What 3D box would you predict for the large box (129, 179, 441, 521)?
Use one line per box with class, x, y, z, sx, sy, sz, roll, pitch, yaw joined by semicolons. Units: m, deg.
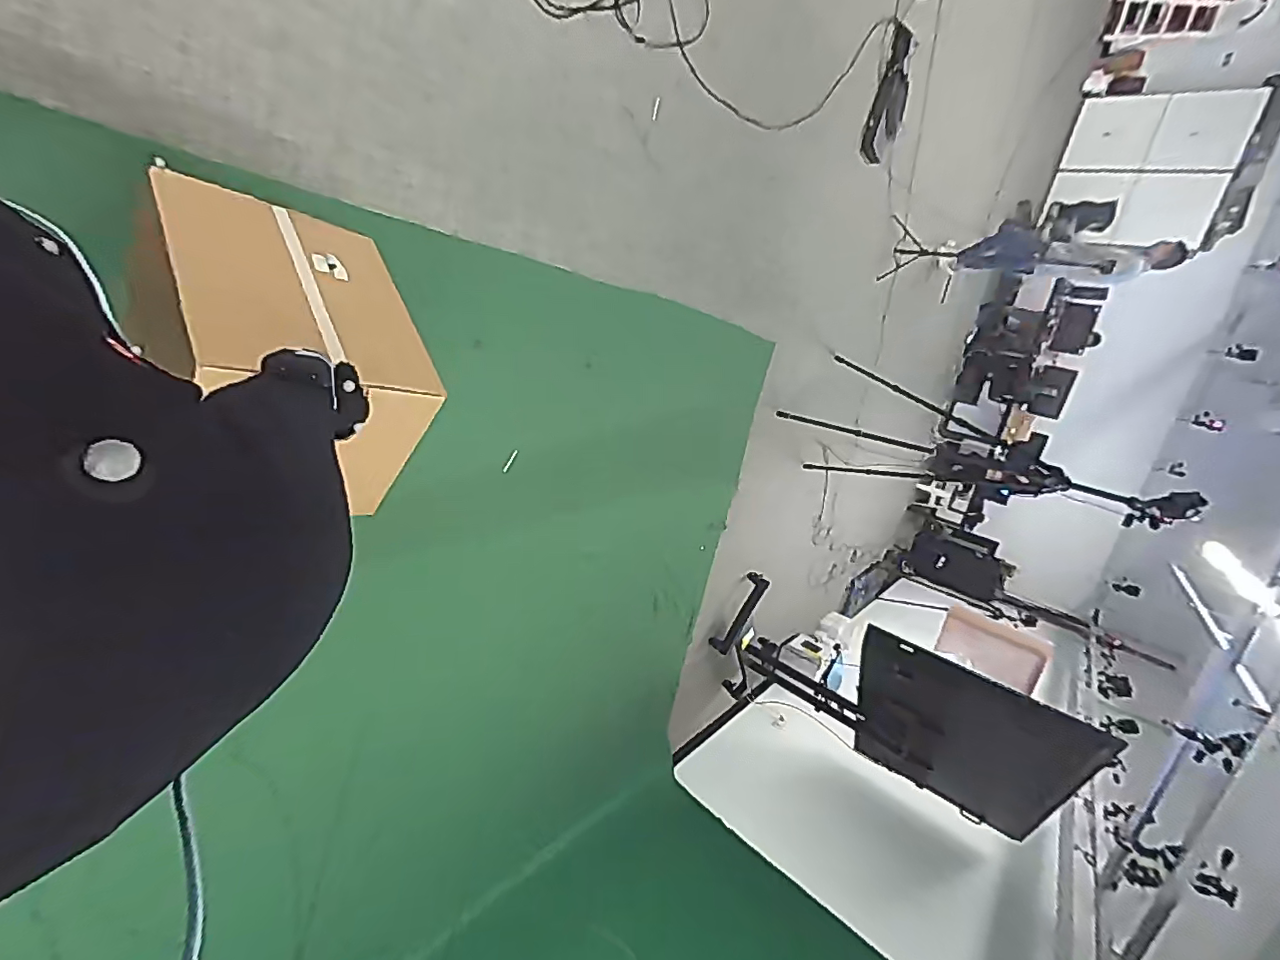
large box;-0.595;-0.188;0.890;0.320;0.408;0.320;0;141;-51
